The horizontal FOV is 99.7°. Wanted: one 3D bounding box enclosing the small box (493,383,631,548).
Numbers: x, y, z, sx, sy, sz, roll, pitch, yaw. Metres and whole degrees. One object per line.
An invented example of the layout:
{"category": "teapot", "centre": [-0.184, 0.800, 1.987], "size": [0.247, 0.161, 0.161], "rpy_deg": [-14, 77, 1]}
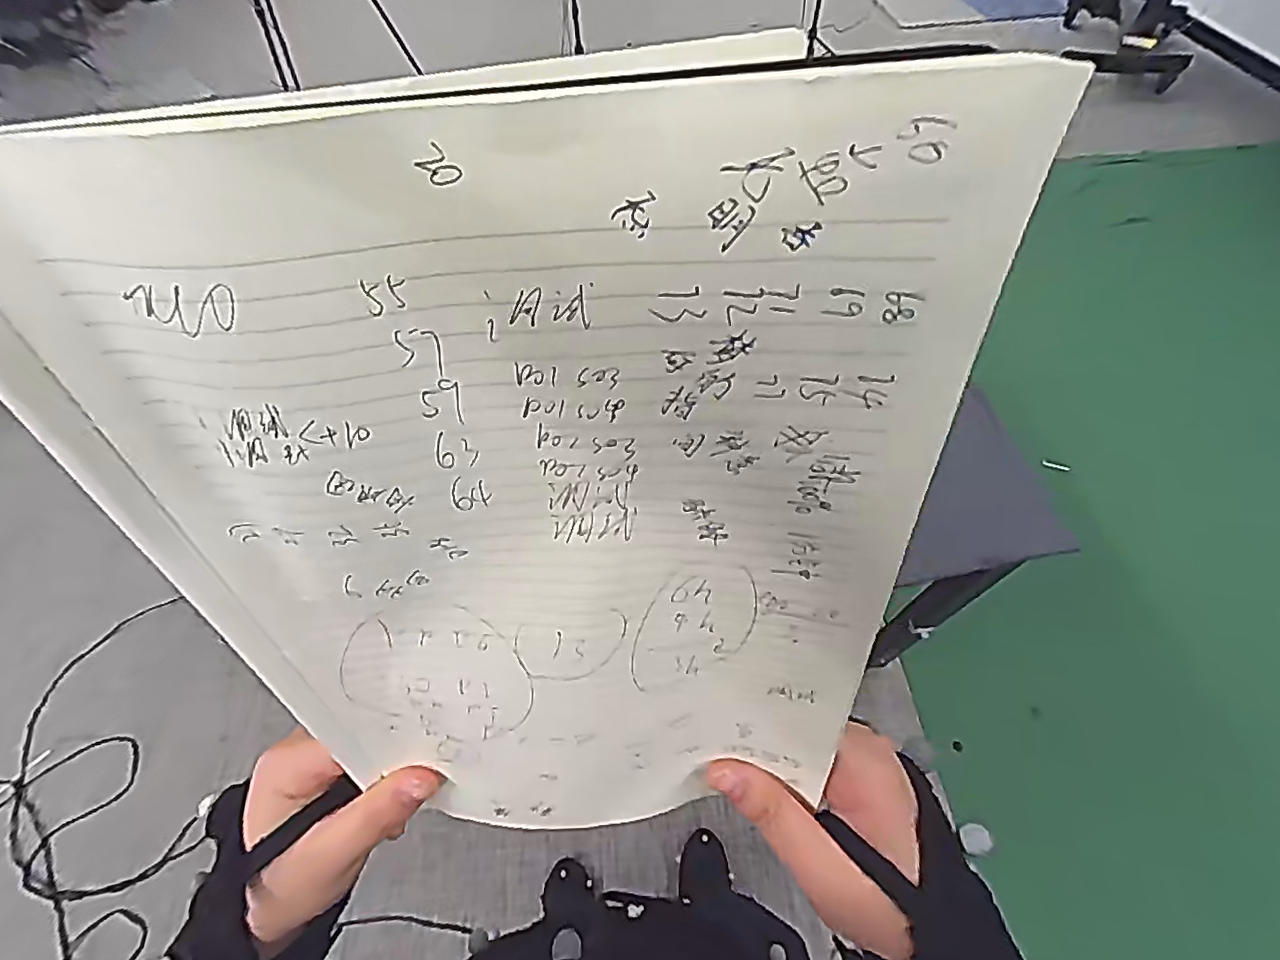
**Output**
{"category": "small box", "centre": [-0.101, -0.018, 0.785], "size": [0.168, 0.176, 0.179], "rpy_deg": [-3, 56, 2]}
